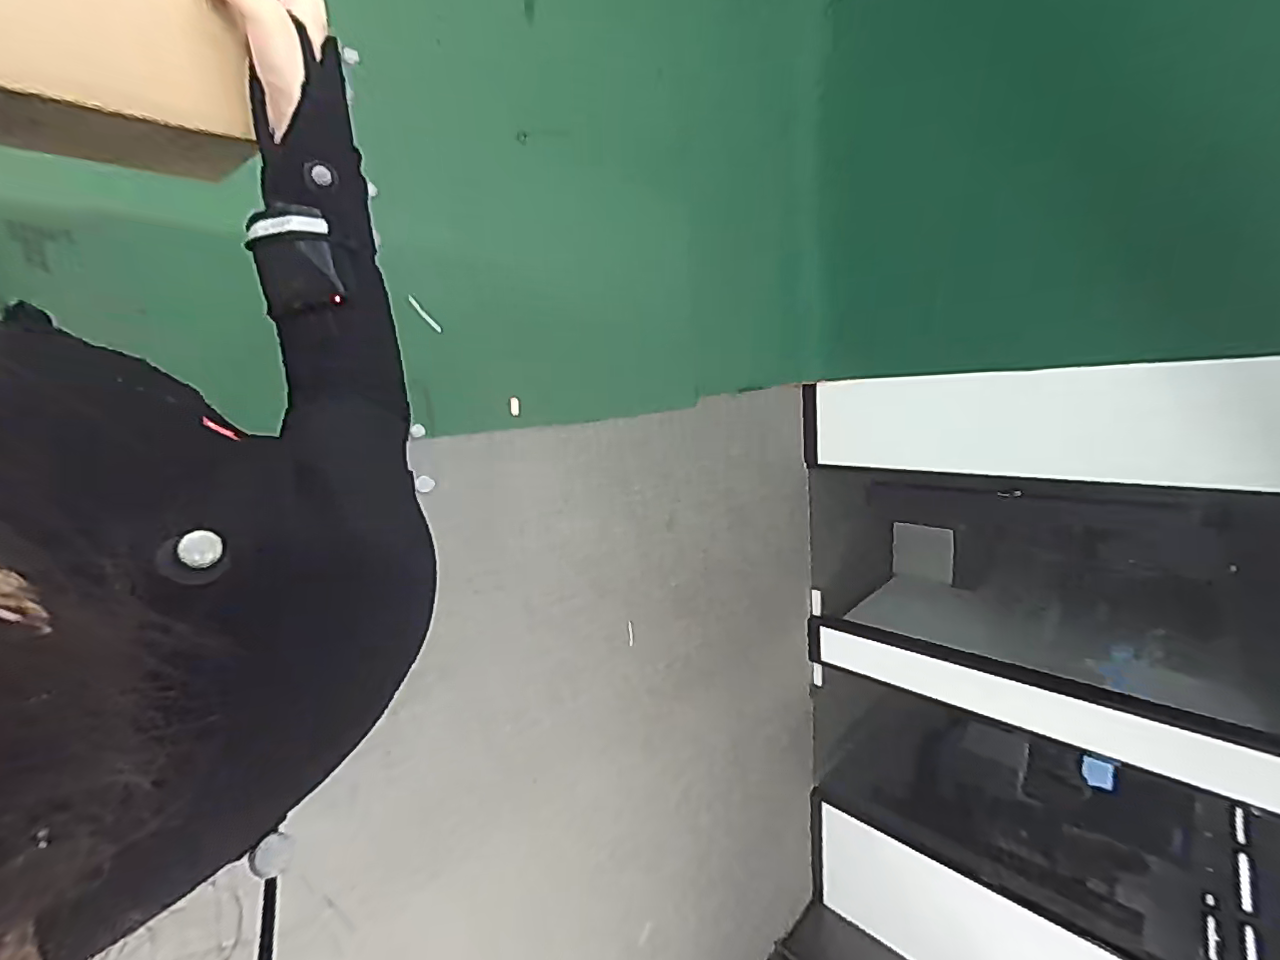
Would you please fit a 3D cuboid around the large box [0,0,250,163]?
[{"bbox_3d":[-0.517,-0.416,0.329,0.408,0.320,0.320,-10,114,-39],"label":"large box"}]
